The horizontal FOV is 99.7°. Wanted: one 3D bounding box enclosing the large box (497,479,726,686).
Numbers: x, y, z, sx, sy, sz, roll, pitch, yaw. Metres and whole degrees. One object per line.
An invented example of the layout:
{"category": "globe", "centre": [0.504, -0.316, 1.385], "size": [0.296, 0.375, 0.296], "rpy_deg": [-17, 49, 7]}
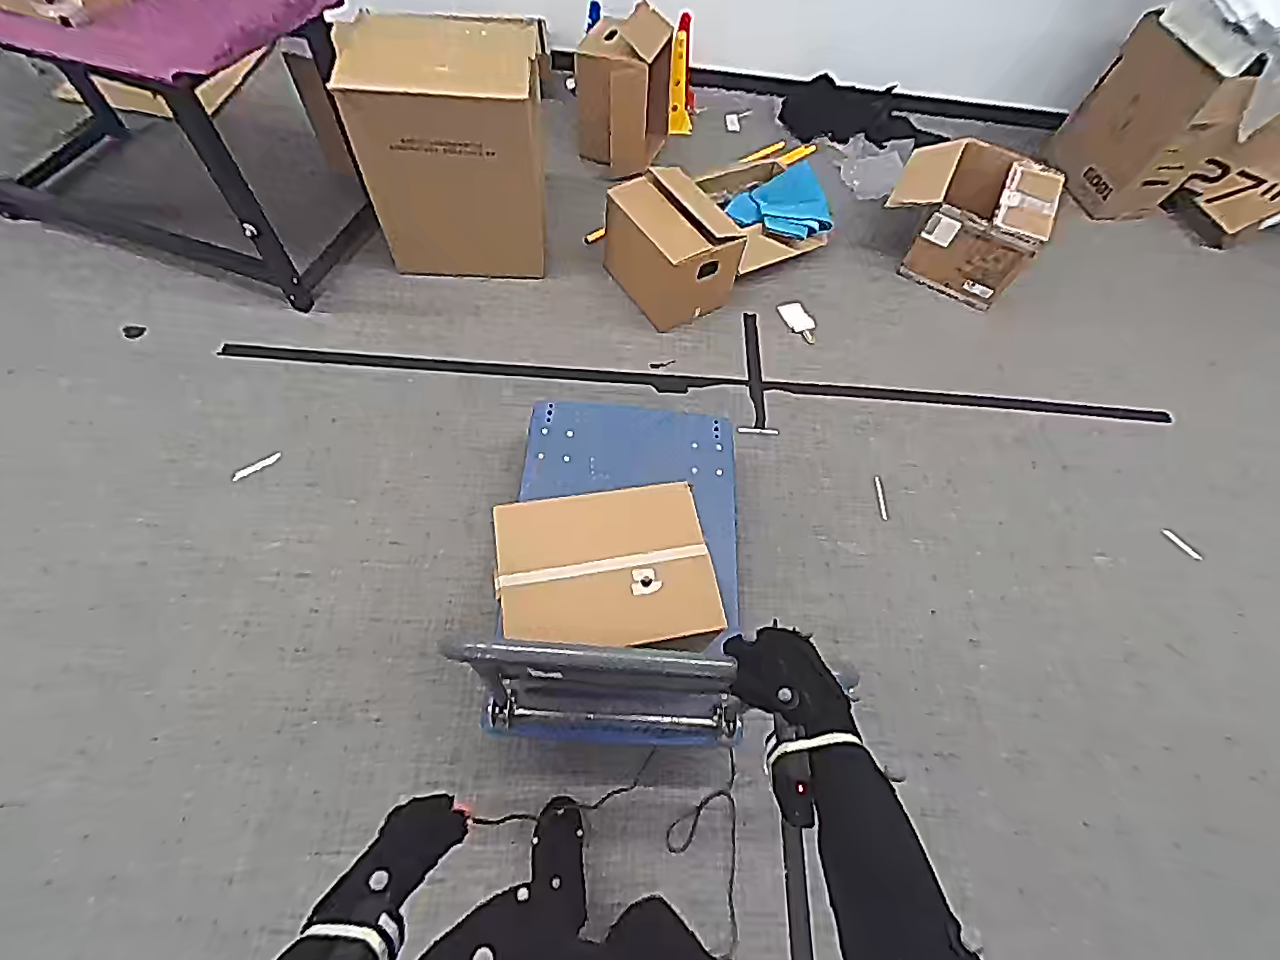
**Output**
{"category": "large box", "centre": [-0.078, 0.229, 1.172], "size": [0.408, 0.320, 0.320], "rpy_deg": [-8, 64, -11]}
